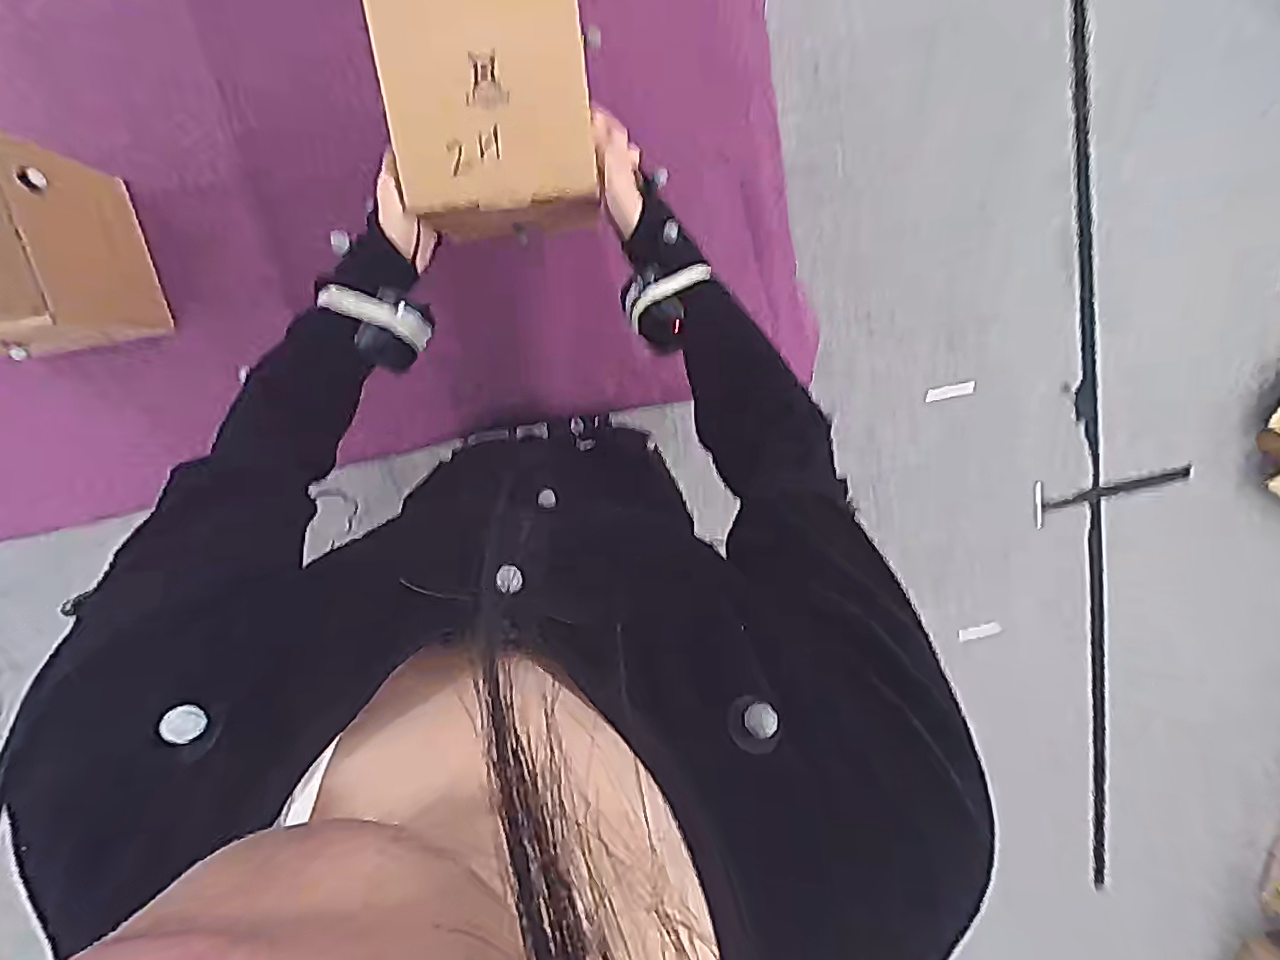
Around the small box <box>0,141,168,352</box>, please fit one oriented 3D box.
[{"bbox_3d":[-0.652,-0.231,0.559,0.168,0.176,0.179,-11,102,-5],"label":"small box"}]

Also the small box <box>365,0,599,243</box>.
[{"bbox_3d":[-0.131,-0.338,0.510,0.168,0.176,0.179,-7,105,-2],"label":"small box"}]

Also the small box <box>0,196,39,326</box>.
[{"bbox_3d":[-0.633,-0.205,0.399,0.168,0.176,0.179,-12,102,-4],"label":"small box"}]
